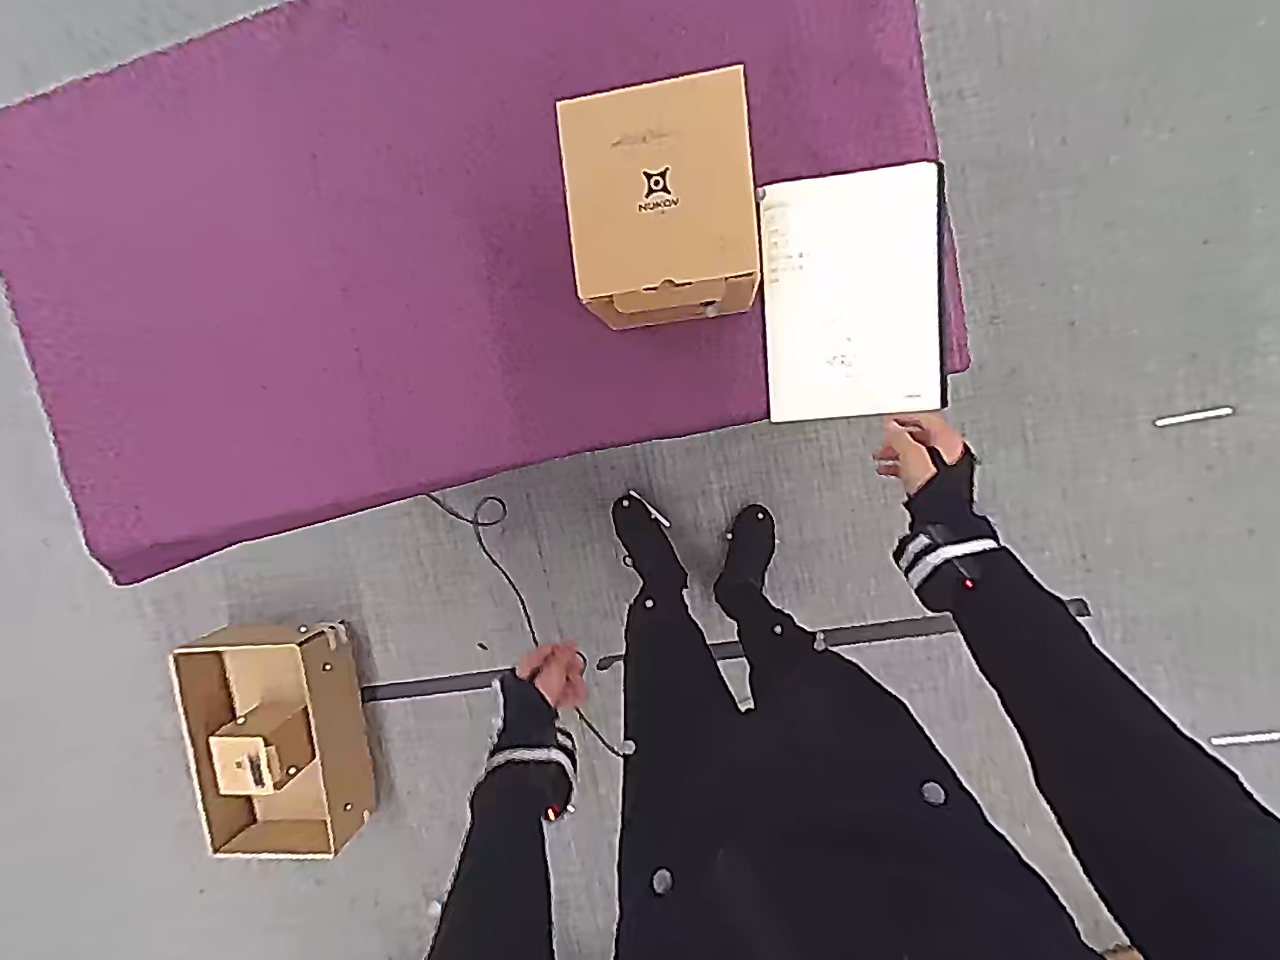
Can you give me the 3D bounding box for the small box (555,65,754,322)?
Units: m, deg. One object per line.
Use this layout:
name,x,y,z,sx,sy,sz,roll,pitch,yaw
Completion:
small box,0.024,-0.266,0.551,0.168,0.176,0.179,-6,96,8
